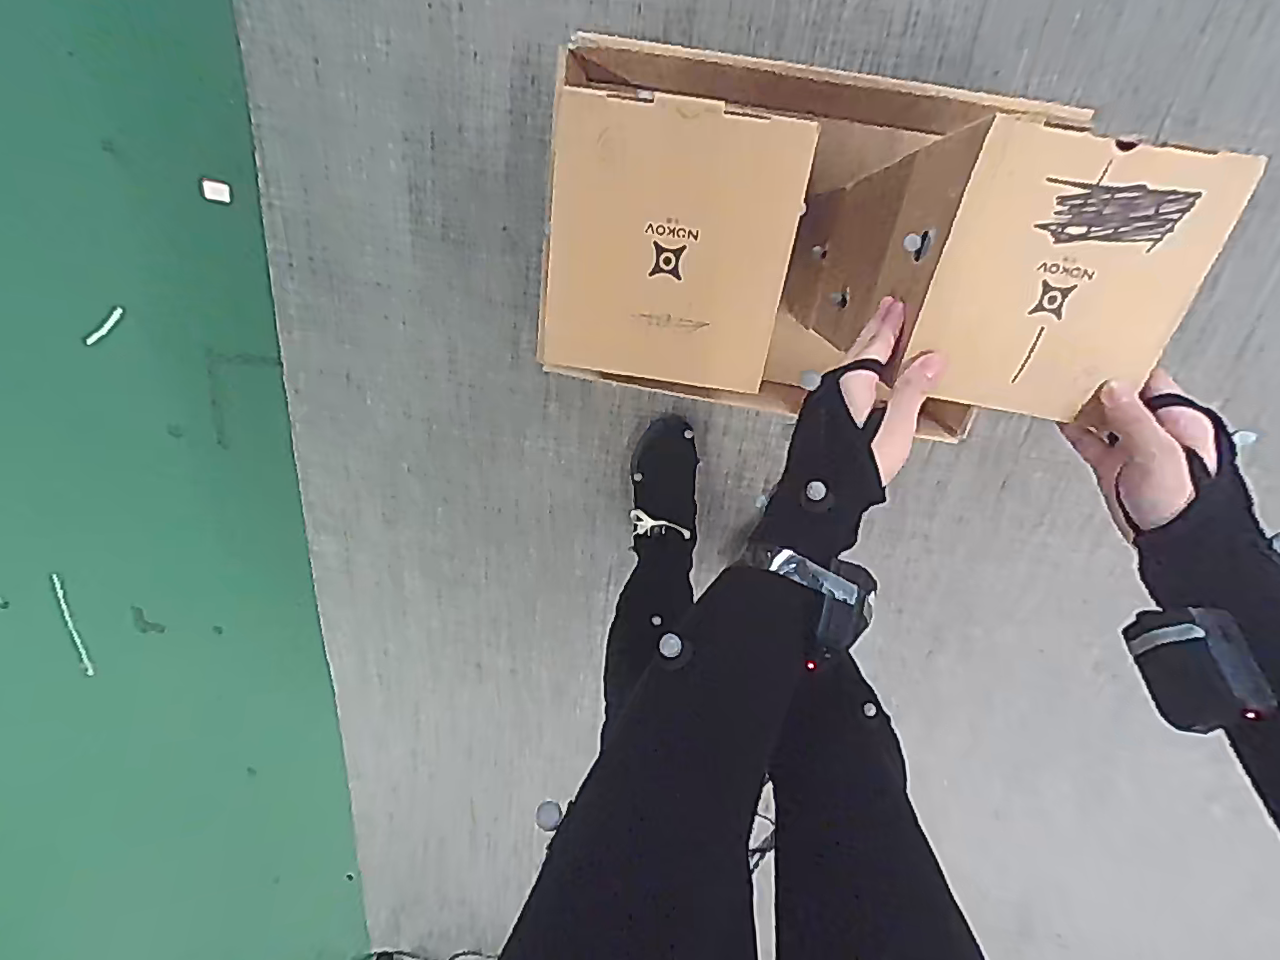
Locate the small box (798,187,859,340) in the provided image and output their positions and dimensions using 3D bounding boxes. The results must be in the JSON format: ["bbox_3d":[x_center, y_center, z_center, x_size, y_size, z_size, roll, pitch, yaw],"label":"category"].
[{"bbox_3d":[0.321,-0.279,0.732,0.168,0.176,0.179,12,114,3],"label":"small box"}]

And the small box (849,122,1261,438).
[{"bbox_3d":[0.286,-0.155,0.431,0.168,0.176,0.179,12,115,3],"label":"small box"}]

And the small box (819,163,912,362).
[{"bbox_3d":[0.304,-0.217,0.581,0.168,0.176,0.179,12,114,2],"label":"small box"}]

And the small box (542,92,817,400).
[{"bbox_3d":[0.025,-0.183,0.442,0.168,0.176,0.179,9,115,1],"label":"small box"}]
